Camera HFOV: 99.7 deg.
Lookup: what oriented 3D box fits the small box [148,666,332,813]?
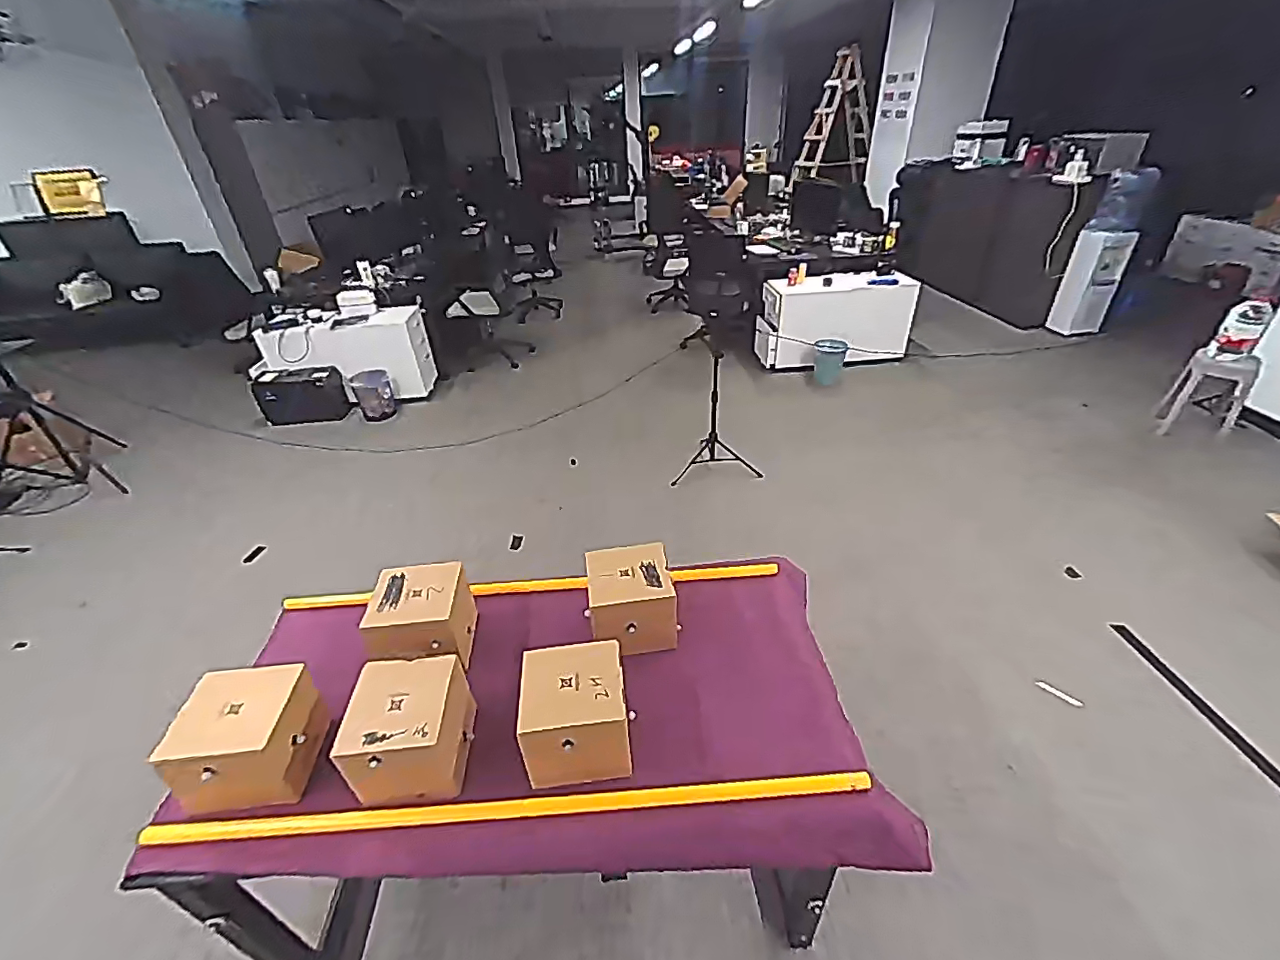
[{"bbox_3d":[-0.678,0.453,0.947,0.179,0.176,0.168,-5,34,-4],"label":"small box"}]

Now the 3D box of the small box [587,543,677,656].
[{"bbox_3d":[-0.018,0.261,1.172,0.179,0.176,0.168,-7,35,-4],"label":"small box"}]

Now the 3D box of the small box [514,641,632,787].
[{"bbox_3d":[-0.113,0.413,0.954,0.179,0.176,0.168,-6,33,-3],"label":"small box"}]

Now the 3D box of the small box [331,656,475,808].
[{"bbox_3d":[-0.398,0.437,0.946,0.168,0.176,0.179,-5,34,-2],"label":"small box"}]
